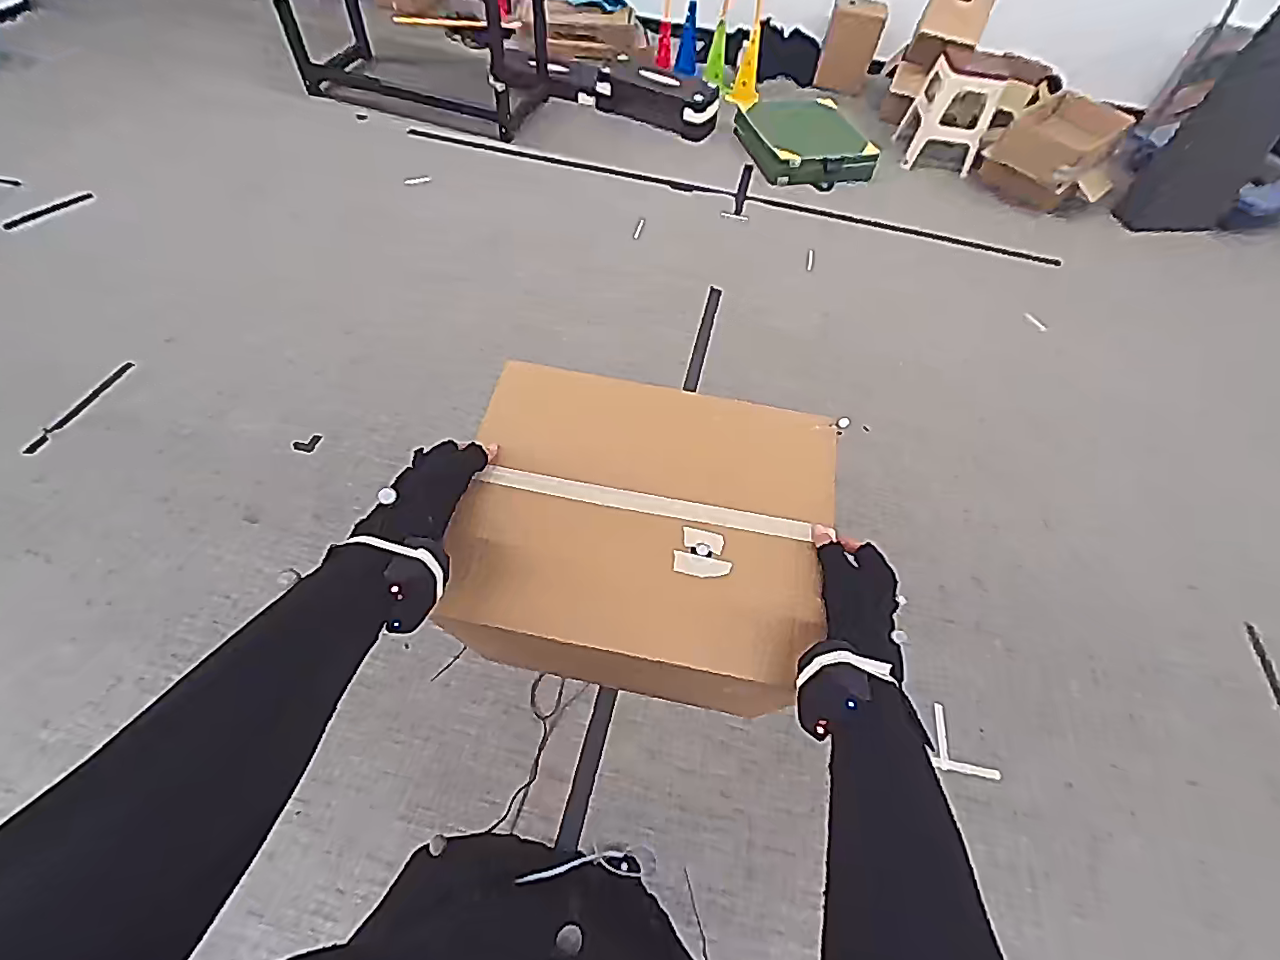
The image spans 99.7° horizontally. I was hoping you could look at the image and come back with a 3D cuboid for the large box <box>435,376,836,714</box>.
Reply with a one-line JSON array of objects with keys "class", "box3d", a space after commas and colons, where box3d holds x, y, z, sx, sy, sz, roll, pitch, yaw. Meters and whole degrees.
[{"class": "large box", "box3d": [0.008, 0.104, 0.727, 0.408, 0.320, 0.320, 11, 64, 3]}]
